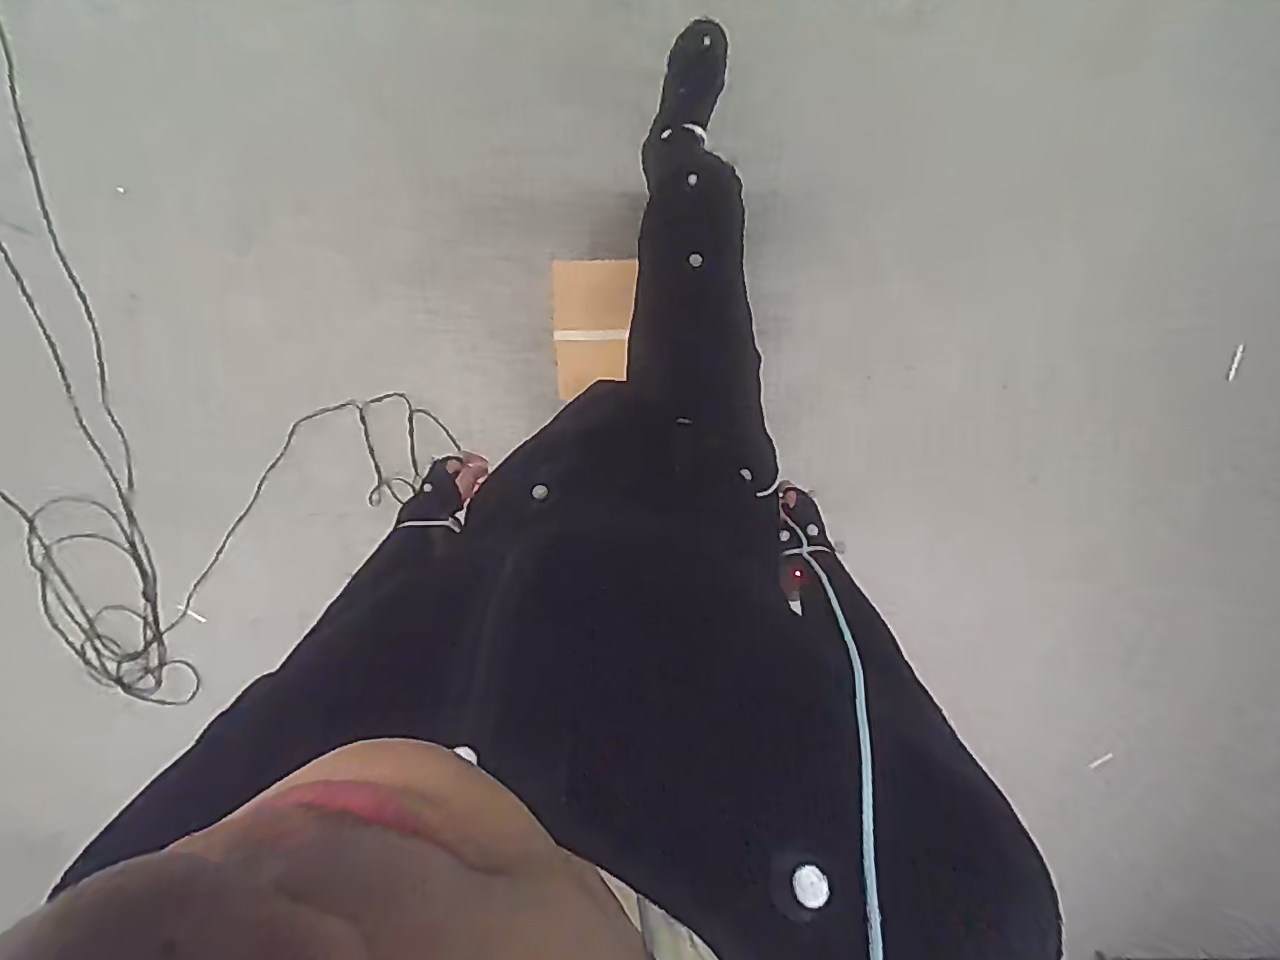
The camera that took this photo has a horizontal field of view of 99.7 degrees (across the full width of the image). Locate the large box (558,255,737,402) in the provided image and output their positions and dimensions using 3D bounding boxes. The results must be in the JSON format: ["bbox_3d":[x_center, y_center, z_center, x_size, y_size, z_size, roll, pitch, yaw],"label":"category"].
[{"bbox_3d":[0.018,-0.379,1.376,0.408,0.320,0.320,-2,106,-1],"label":"large box"}]
